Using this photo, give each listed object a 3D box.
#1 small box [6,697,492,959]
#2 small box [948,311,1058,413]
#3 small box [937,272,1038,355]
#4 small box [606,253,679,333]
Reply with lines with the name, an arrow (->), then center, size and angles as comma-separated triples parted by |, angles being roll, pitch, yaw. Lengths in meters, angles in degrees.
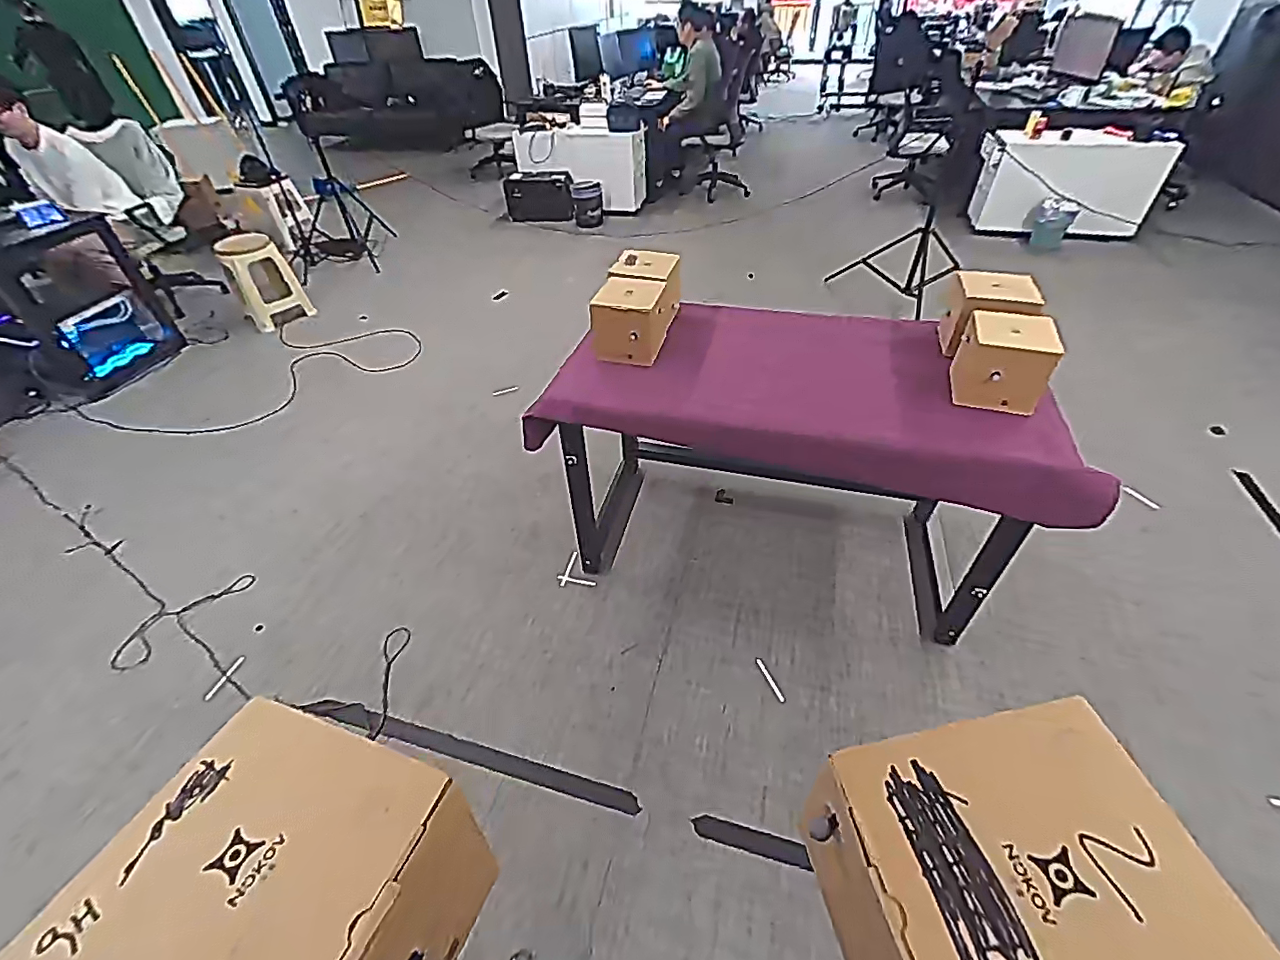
small box -> -0.221, 0.286, 0.362 | 0.179, 0.176, 0.168 | 13, 40, 16
small box -> 0.847, -0.278, 1.279 | 0.168, 0.176, 0.179 | 12, 44, 16
small box -> 0.905, -0.432, 1.431 | 0.179, 0.176, 0.168 | 10, 46, 13
small box -> 0.010, -0.559, 1.616 | 0.179, 0.176, 0.168 | 11, 47, 13
